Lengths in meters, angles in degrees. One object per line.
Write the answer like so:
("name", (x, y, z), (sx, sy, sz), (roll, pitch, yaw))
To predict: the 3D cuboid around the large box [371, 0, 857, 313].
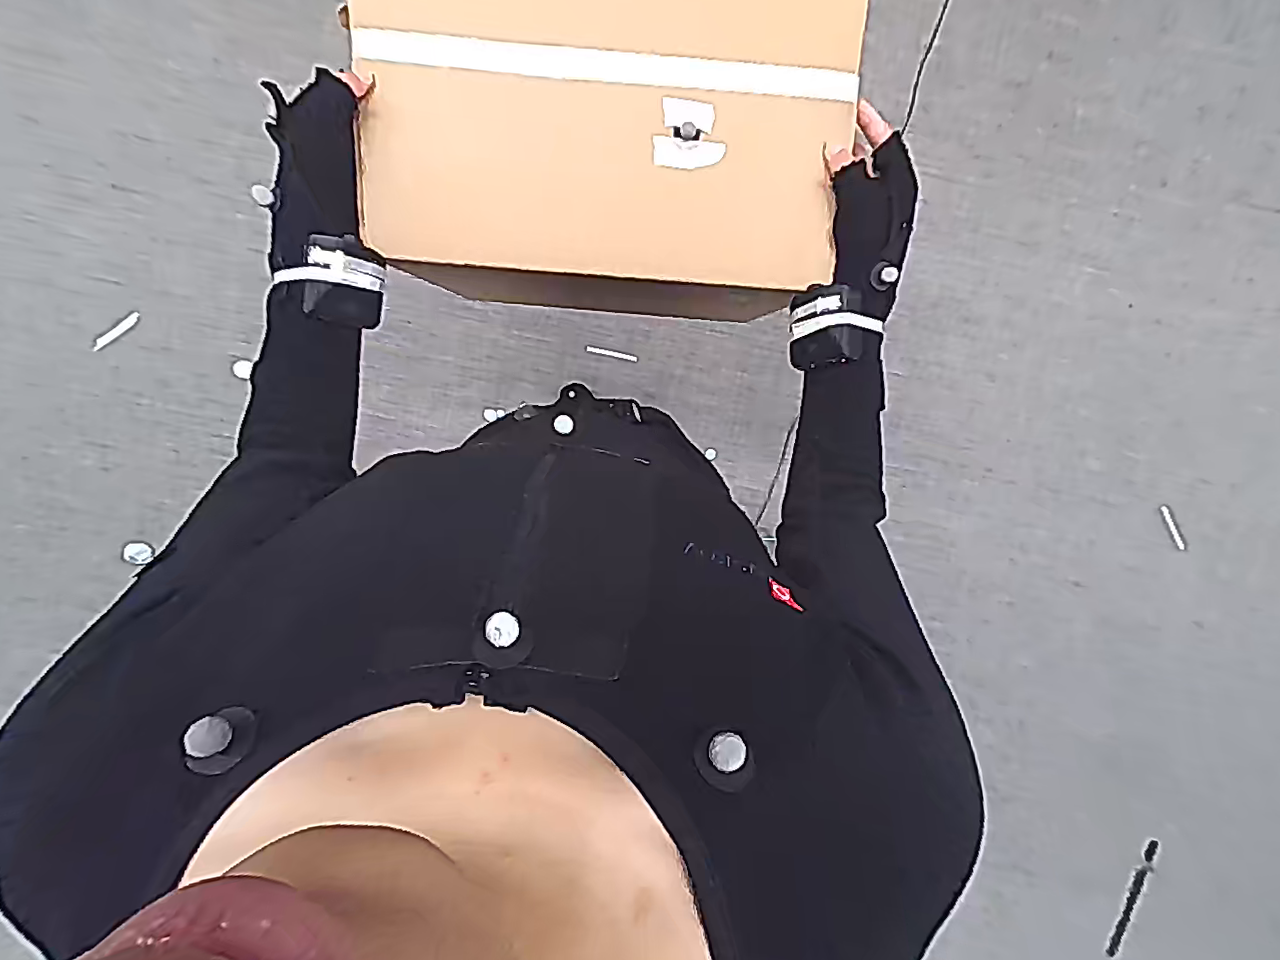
("large box", (-0.029, -0.368, 0.597), (0.408, 0.320, 0.320), (3, 103, -3))
